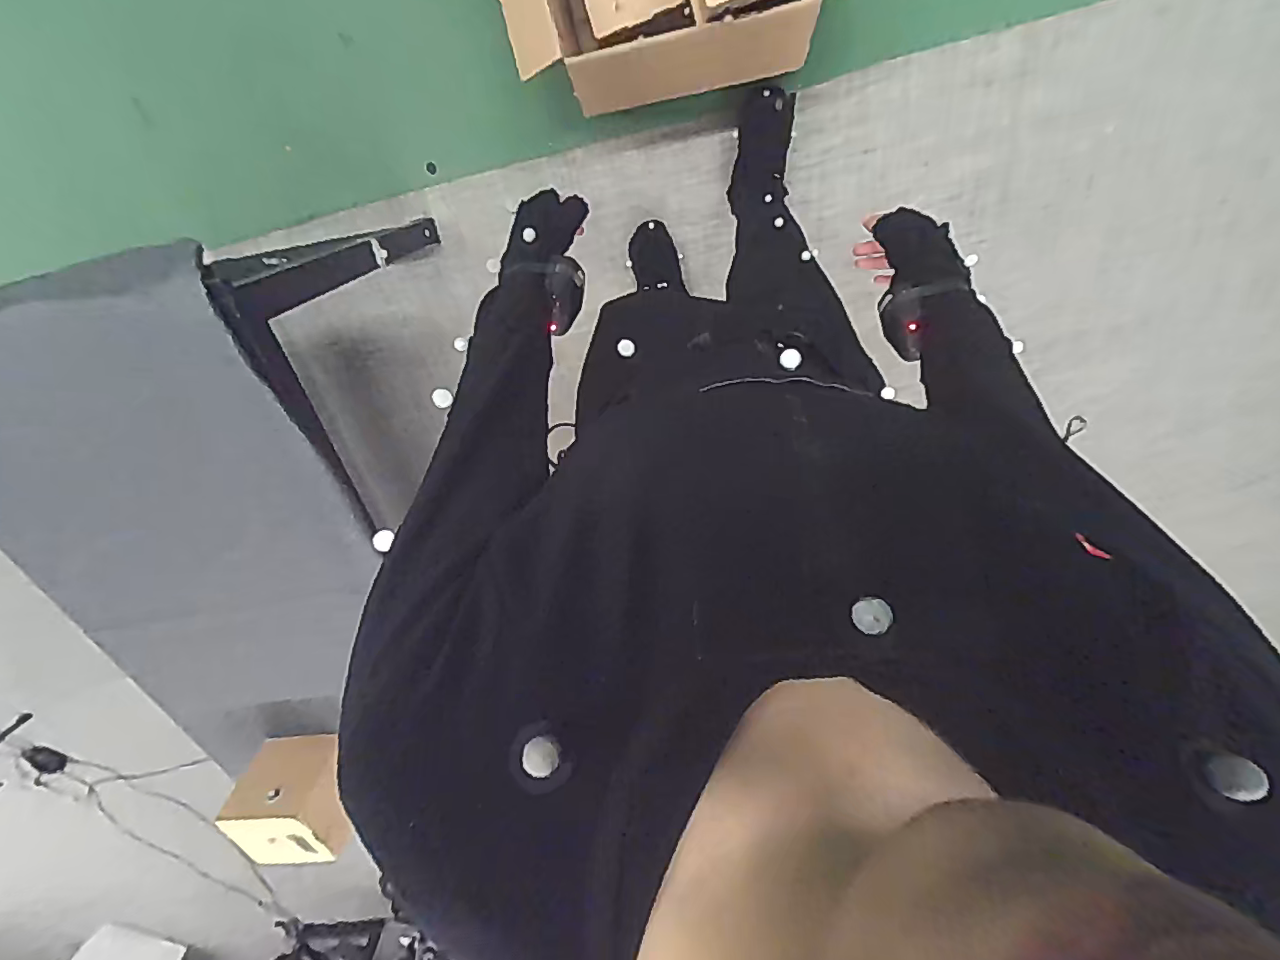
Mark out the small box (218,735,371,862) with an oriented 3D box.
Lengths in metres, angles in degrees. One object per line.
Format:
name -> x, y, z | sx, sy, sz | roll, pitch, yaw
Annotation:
small box -> -0.676, 0.637, 1.091 | 0.179, 0.176, 0.168 | -7, 121, 8
